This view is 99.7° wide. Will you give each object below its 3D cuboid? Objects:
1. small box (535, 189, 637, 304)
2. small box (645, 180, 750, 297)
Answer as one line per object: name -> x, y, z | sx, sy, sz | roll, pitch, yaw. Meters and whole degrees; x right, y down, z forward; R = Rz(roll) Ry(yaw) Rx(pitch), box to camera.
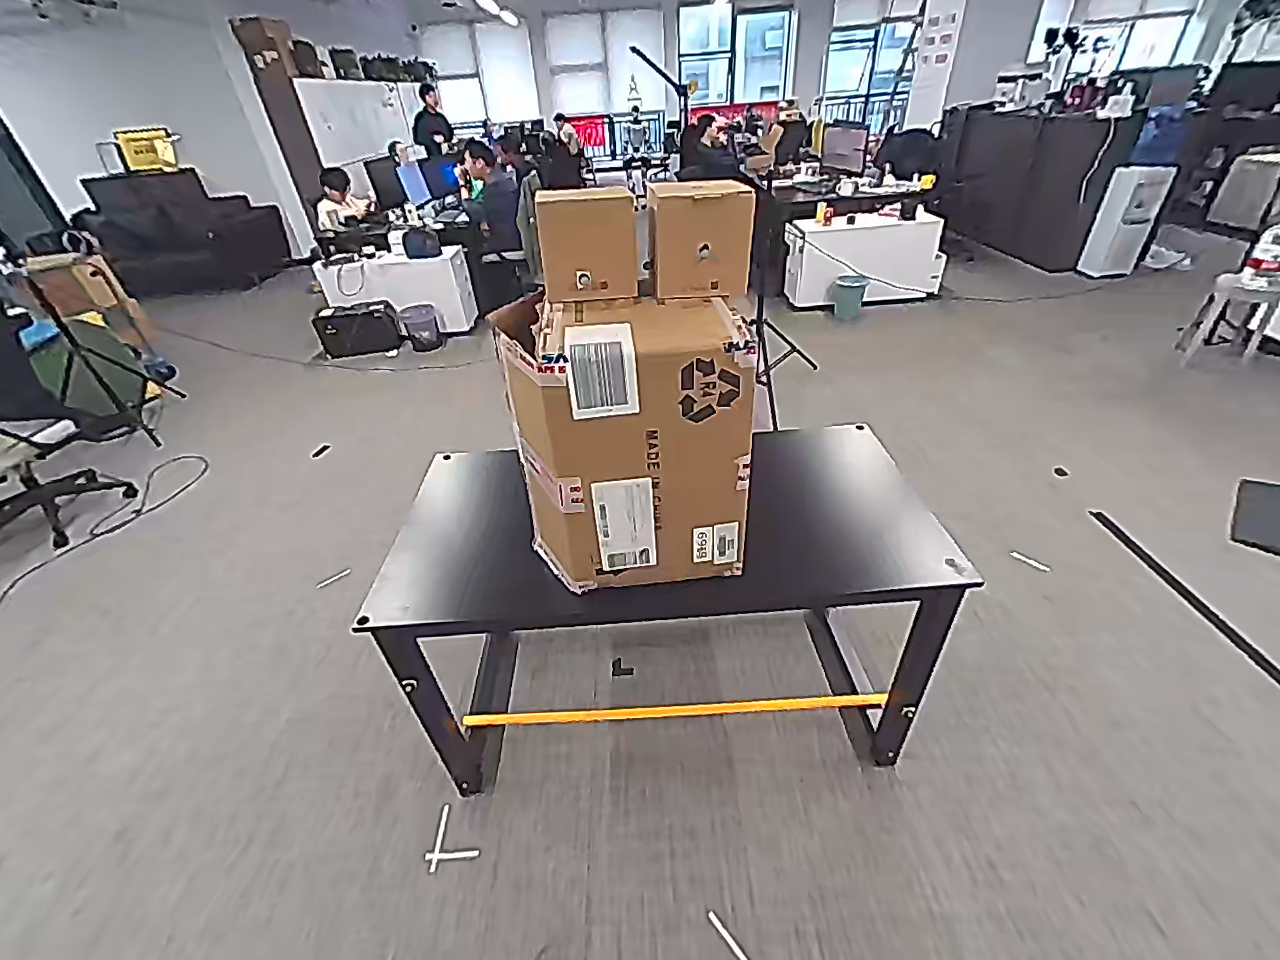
small box -> -0.100, -0.434, 1.002 | 0.168, 0.176, 0.179 | -8, 34, -5
small box -> 0.099, -0.443, 0.997 | 0.168, 0.176, 0.179 | -3, 36, -3
